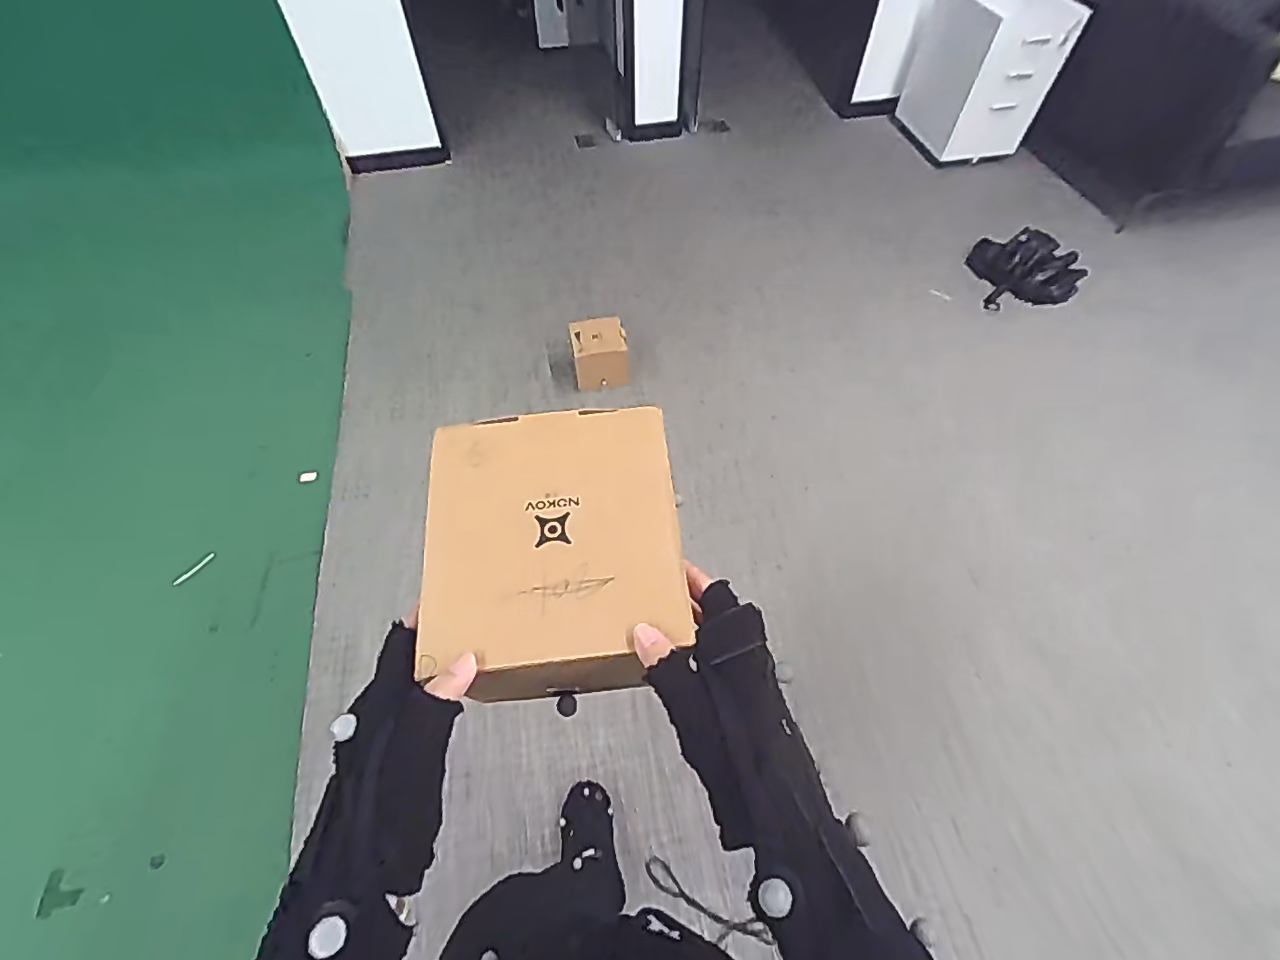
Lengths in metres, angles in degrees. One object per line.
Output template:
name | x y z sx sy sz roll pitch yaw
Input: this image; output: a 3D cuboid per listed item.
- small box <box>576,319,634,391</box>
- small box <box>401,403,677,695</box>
small box | -0.118 -0.428 1.857 0.179 0.176 0.168 -8 57 -5
small box | -0.065 0.062 0.427 0.168 0.176 0.179 -5 63 -1
